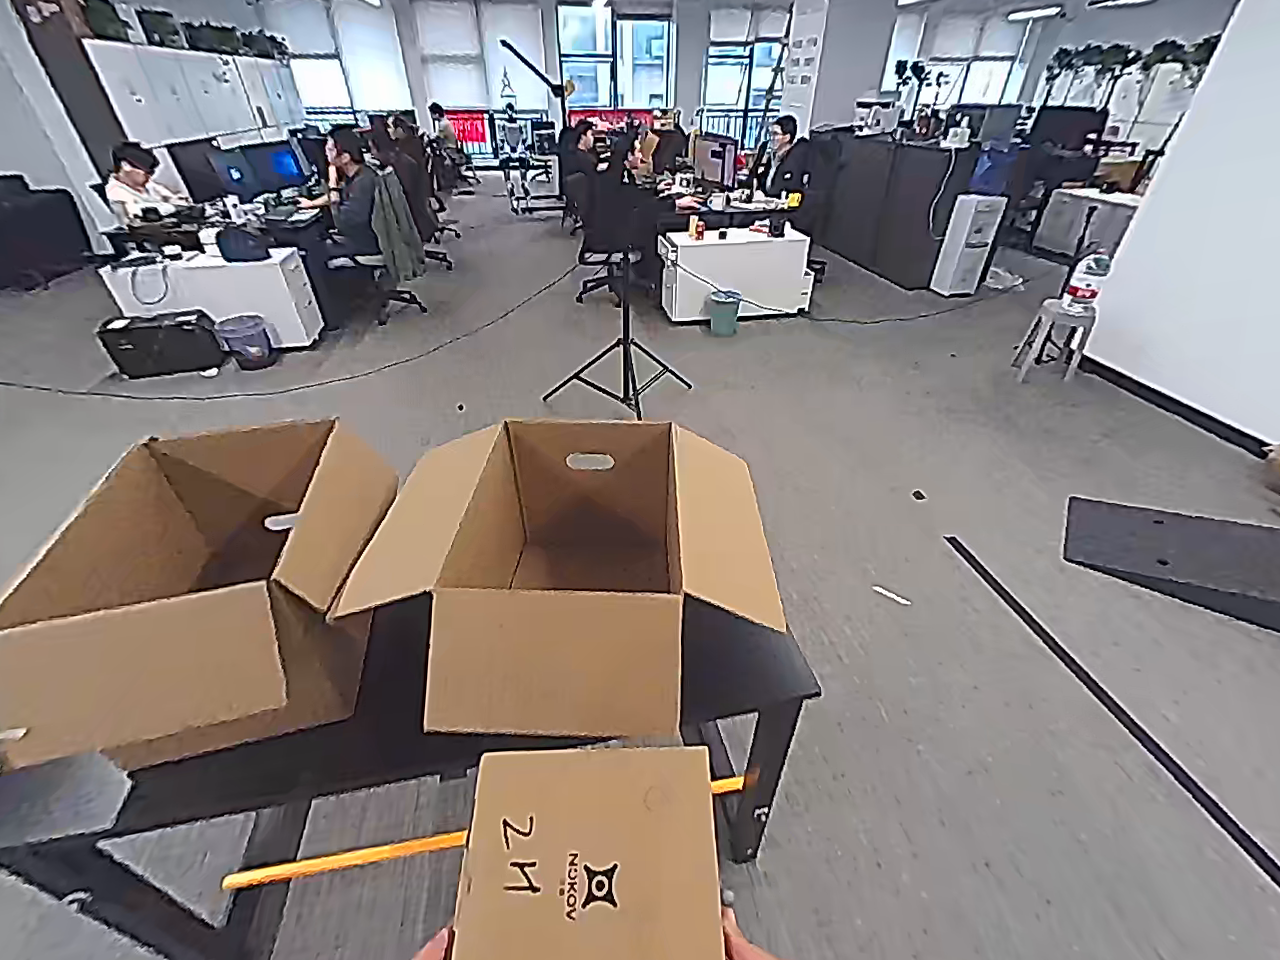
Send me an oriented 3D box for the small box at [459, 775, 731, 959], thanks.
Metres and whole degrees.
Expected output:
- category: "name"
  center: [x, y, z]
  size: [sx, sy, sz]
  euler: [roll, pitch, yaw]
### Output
- category: "small box"
  center: [-0.025, 0.337, 0.419]
  size: [0.179, 0.176, 0.168]
  euler: [-2, 50, 3]
